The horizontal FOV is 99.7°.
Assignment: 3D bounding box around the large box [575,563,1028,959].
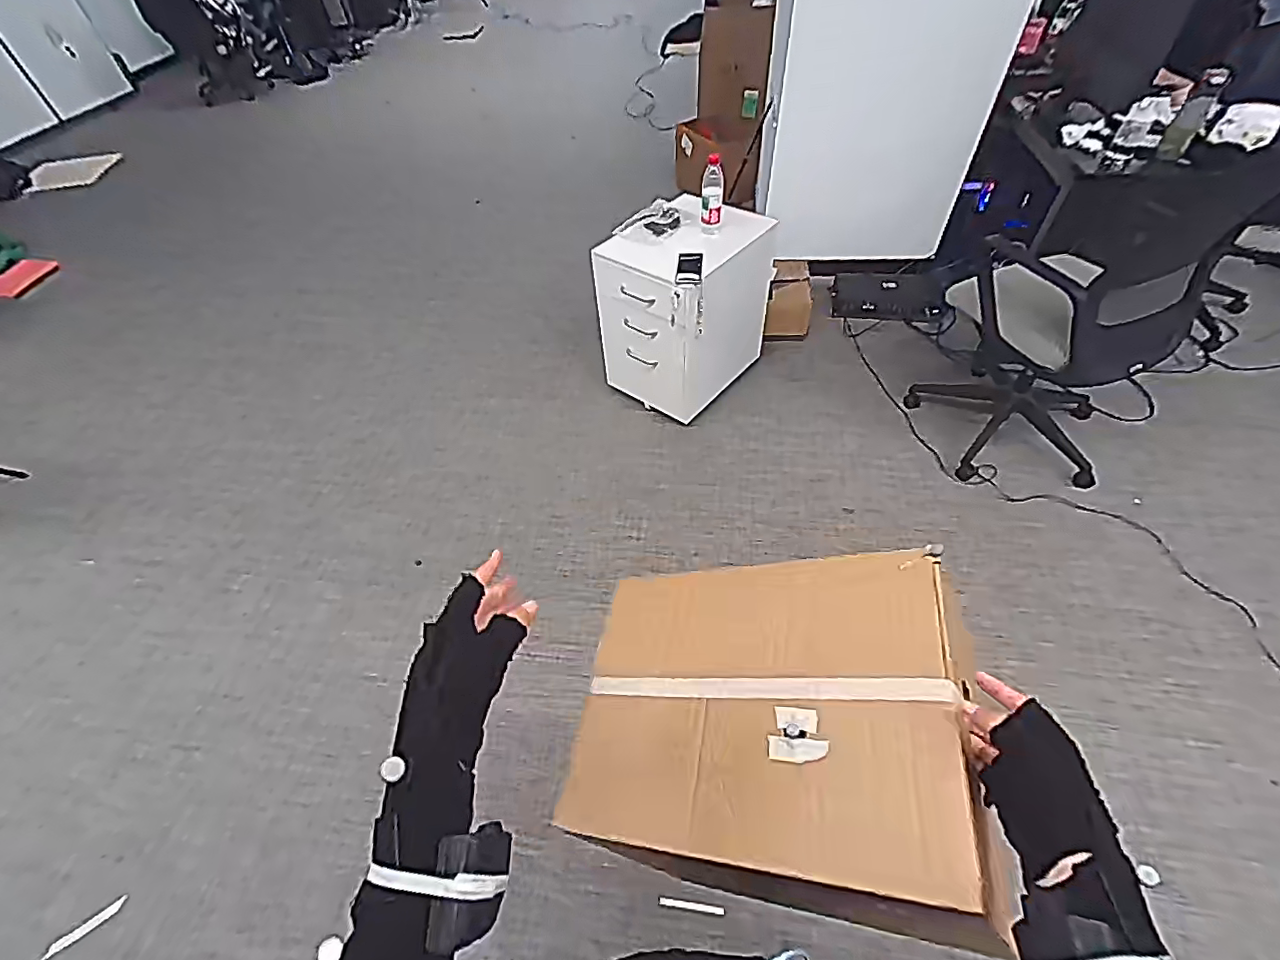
[{"bbox_3d":[0.198,0.337,0.676,0.408,0.320,0.320,-14,43,34],"label":"large box"}]
